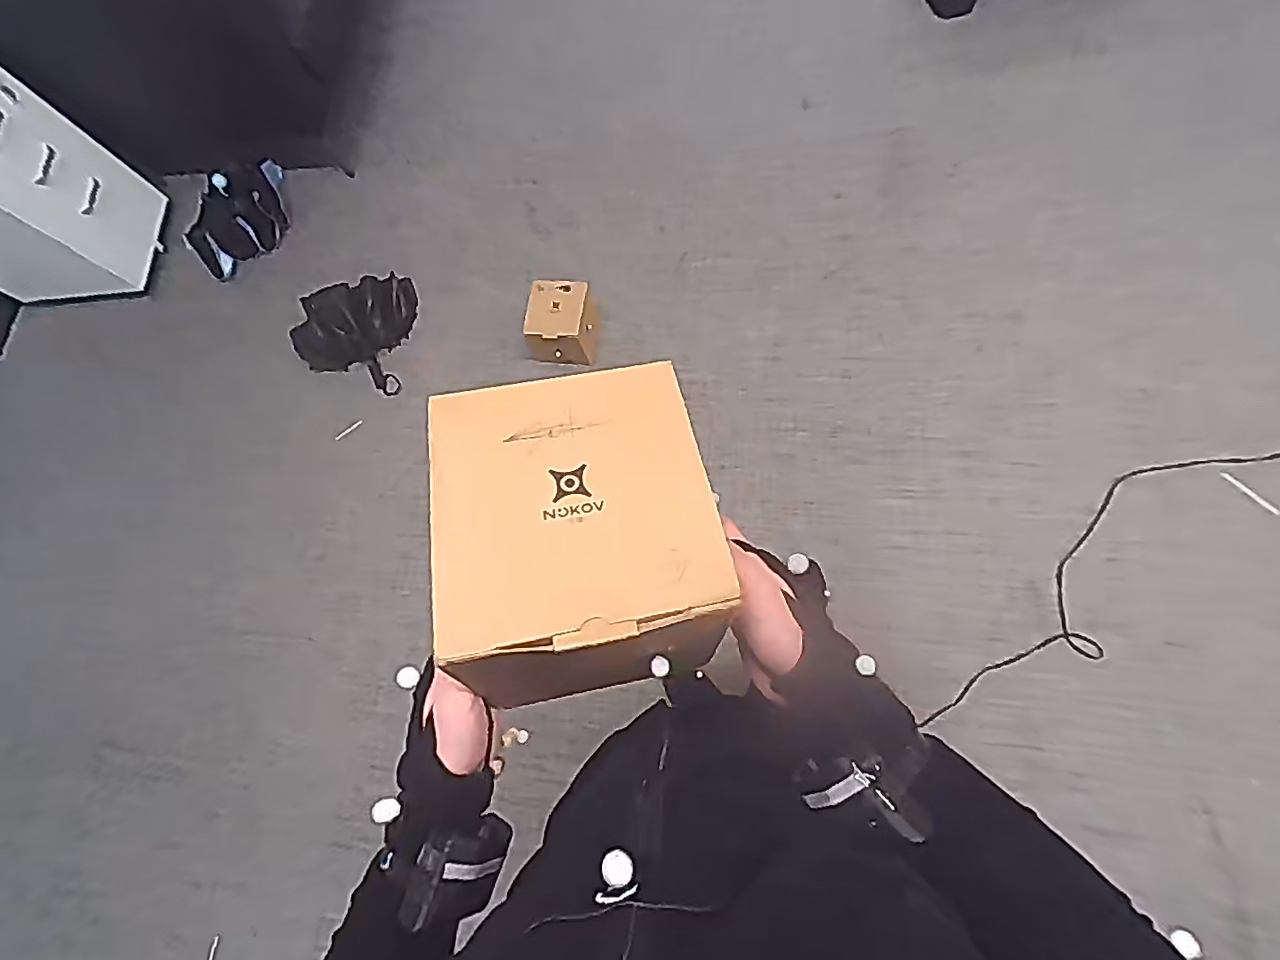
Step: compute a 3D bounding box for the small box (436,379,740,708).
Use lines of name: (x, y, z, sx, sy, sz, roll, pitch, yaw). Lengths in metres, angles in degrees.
small box: (-0.040, 0.056, 0.395, 0.168, 0.176, 0.179, -10, 59, -8)
